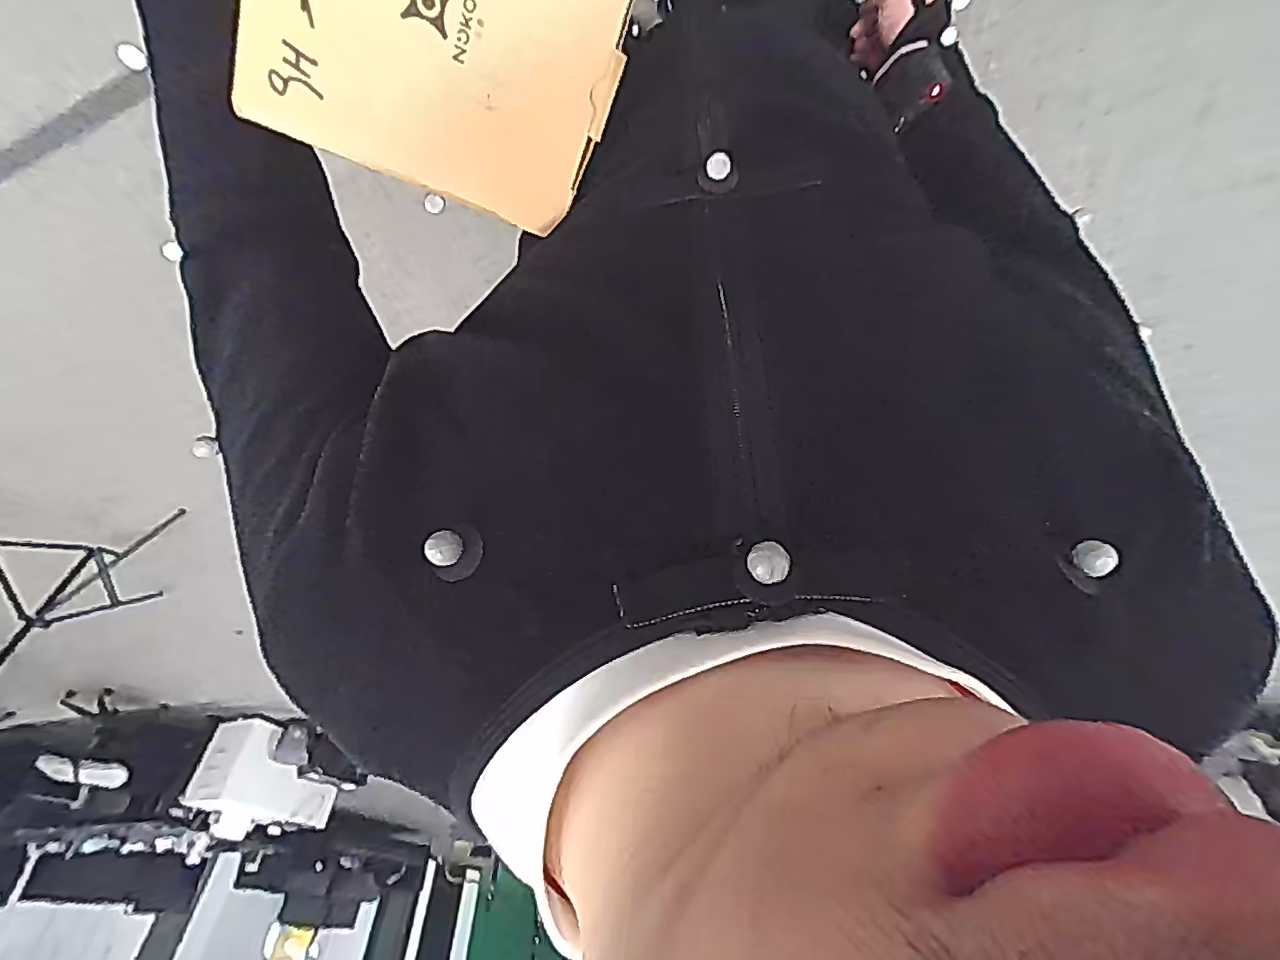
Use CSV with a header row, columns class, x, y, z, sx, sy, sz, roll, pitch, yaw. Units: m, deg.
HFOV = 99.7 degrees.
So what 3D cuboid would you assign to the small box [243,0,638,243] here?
class,x,y,z,sx,sy,sz,roll,pitch,yaw
small box,-0.118,-0.275,0.351,0.179,0.176,0.168,14,112,-21
